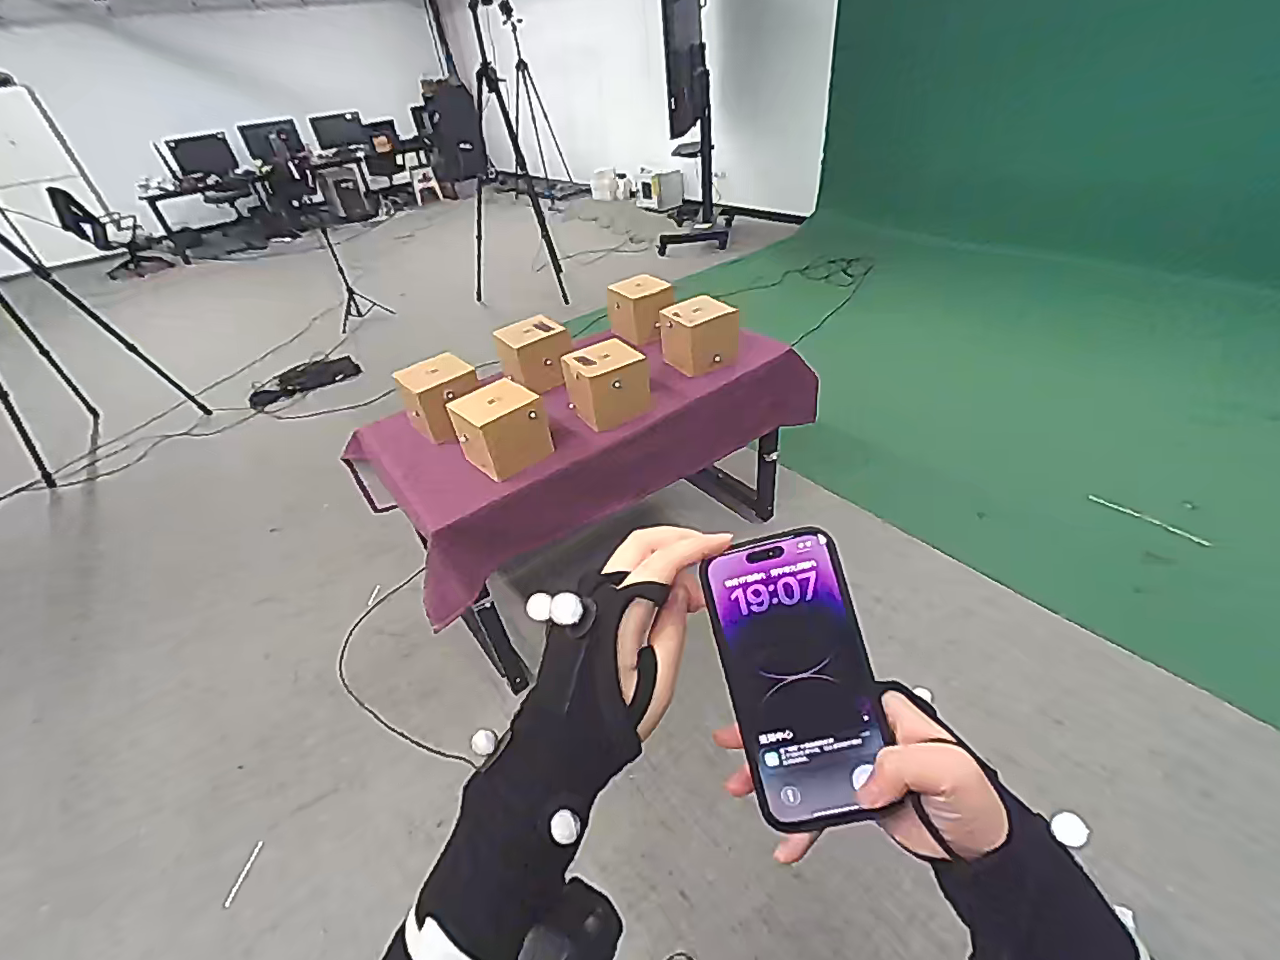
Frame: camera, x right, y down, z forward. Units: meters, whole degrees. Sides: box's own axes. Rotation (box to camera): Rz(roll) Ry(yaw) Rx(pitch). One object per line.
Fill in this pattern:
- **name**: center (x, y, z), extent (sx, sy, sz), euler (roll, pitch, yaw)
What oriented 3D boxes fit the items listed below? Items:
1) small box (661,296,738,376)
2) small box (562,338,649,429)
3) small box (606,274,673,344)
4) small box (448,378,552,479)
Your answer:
- **small box**: center (0.180, -0.443, 1.661), extent (0.179, 0.176, 0.168), euler (-24, 41, -20)
- **small box**: center (-0.089, -0.263, 1.481), extent (0.179, 0.176, 0.168), euler (-24, 42, -22)
- **small box**: center (0.002, -0.592, 1.872), extent (0.168, 0.176, 0.179), euler (-27, 44, -22)
- **small box**: center (-0.344, -0.129, 1.357), extent (0.179, 0.176, 0.168), euler (-33, 45, -30)
